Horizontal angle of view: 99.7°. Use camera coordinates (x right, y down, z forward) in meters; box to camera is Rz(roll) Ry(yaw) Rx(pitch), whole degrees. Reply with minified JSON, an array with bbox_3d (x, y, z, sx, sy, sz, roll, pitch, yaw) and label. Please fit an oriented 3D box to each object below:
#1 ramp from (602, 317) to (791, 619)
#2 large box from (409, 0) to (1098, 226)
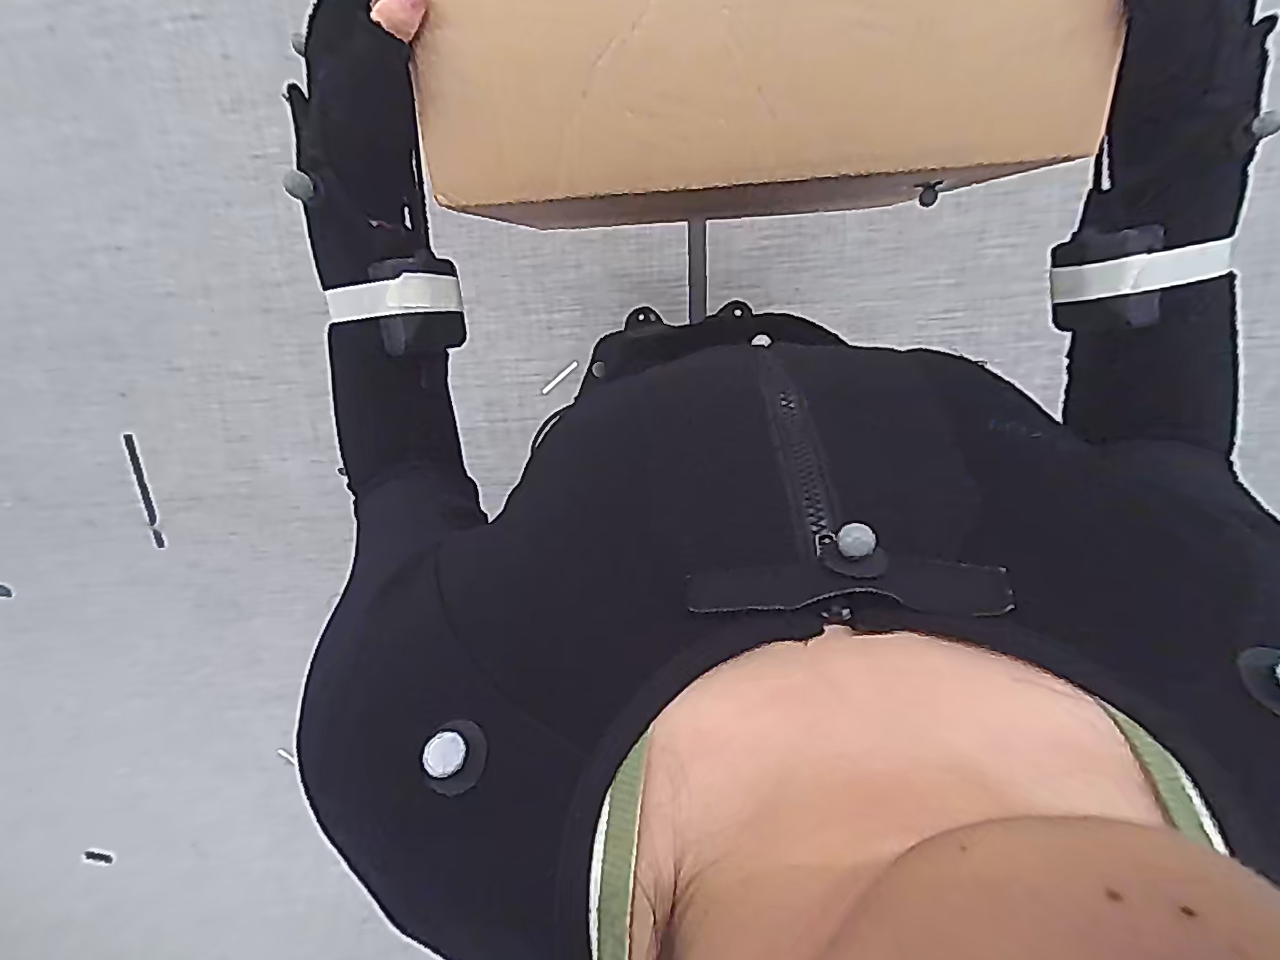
[{"bbox_3d":[0.178,0.031,1.623,0.509,0.206,0.991,-4,108,4],"label":"ramp"},{"bbox_3d":[0.065,-0.390,0.428,0.408,0.320,0.320,-3,112,3],"label":"large box"}]
